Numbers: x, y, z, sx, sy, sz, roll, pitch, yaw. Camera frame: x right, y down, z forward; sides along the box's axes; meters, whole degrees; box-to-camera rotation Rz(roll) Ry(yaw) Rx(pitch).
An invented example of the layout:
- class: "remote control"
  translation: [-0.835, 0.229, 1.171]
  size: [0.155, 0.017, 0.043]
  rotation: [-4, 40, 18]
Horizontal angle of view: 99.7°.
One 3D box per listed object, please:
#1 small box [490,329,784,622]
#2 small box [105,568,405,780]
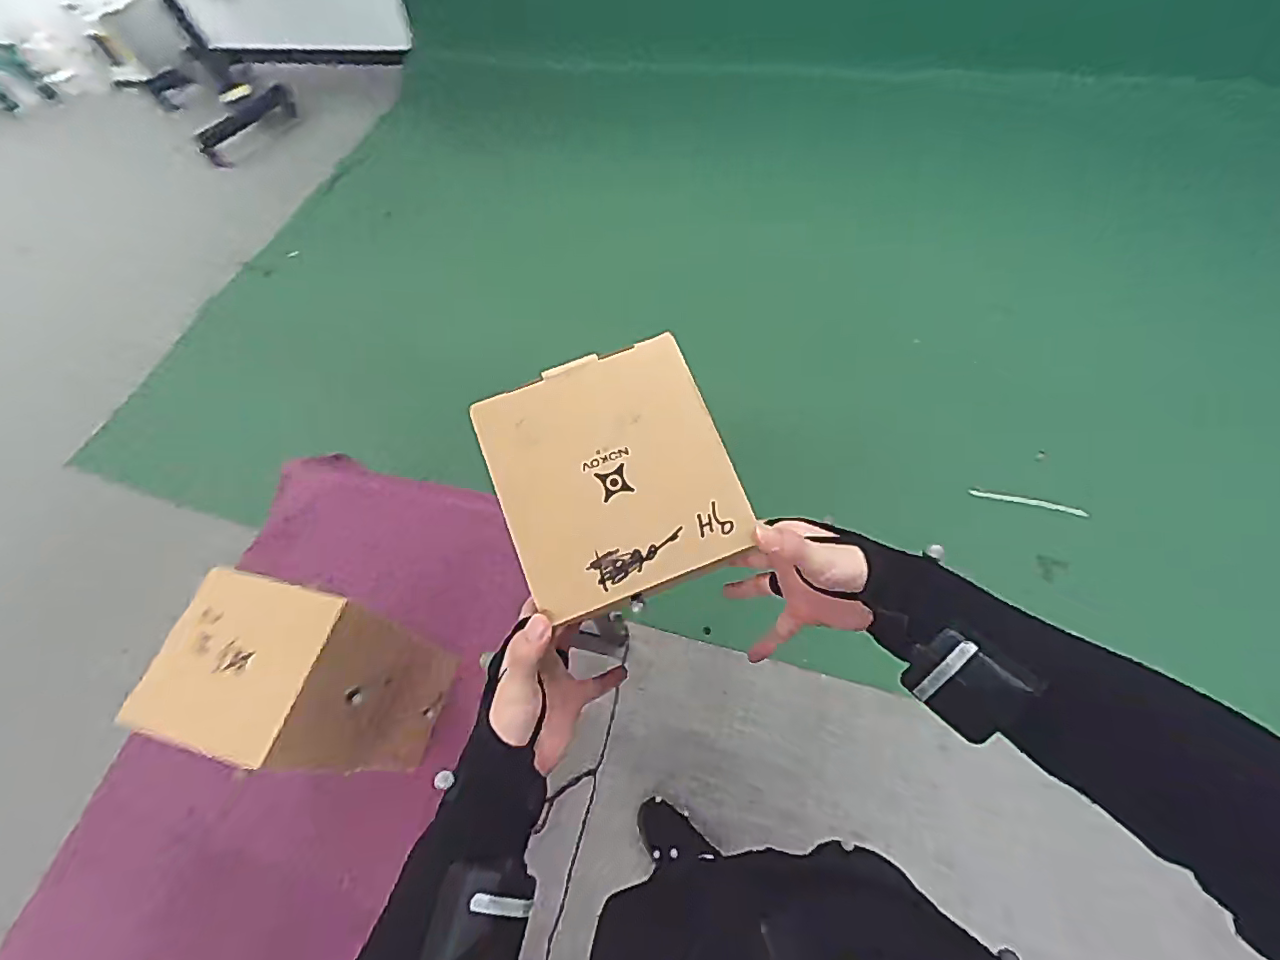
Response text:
- class: "small box"
  translation: [-0.005, 0.010, 0.455]
  size: [0.168, 0.176, 0.179]
  rotation: [-20, 76, -3]
- class: "small box"
  translation: [-0.400, 0.218, 0.602]
  size: [0.179, 0.176, 0.168]
  rotation: [10, 62, 13]
